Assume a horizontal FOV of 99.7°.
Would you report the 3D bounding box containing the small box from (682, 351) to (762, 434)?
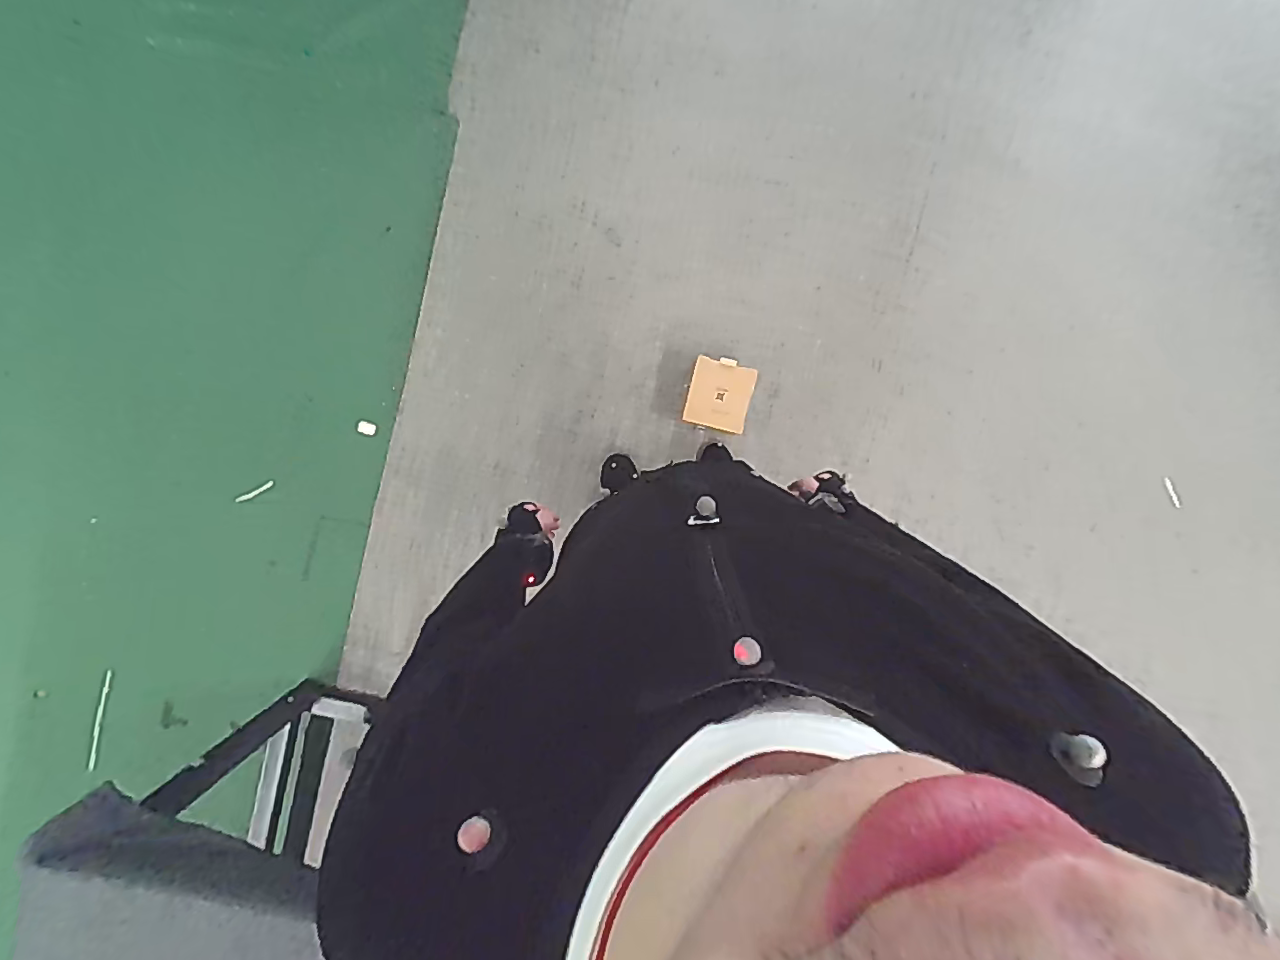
[{"bbox_3d":[0.214,-0.232,1.469,0.168,0.176,0.179,16,94,0],"label":"small box"}]
